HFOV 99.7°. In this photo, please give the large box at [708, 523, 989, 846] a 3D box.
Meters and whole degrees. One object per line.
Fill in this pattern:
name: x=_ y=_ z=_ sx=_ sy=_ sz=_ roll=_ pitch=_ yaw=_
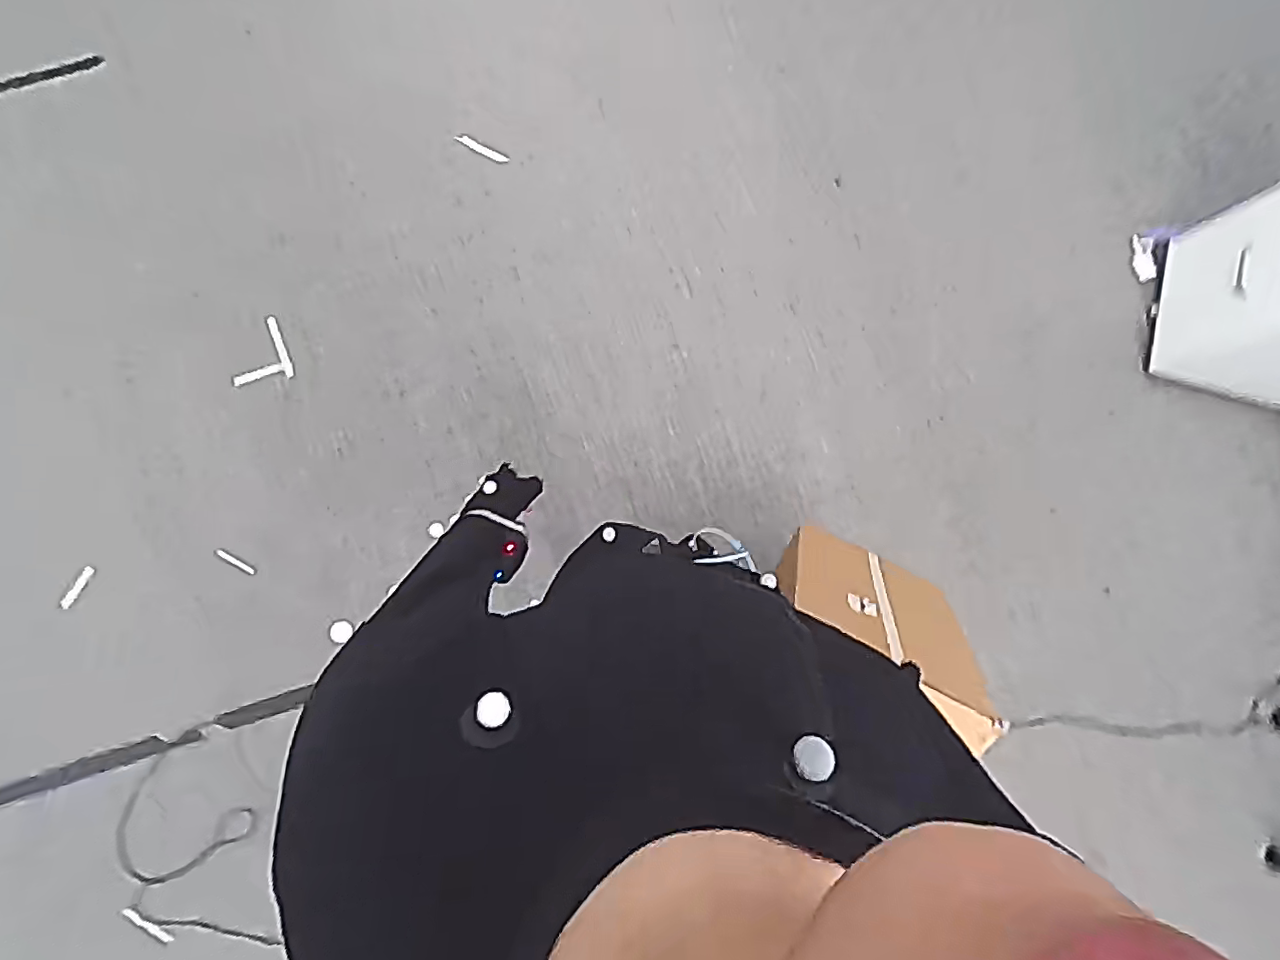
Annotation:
large box: x=0.354 y=0.342 z=1.007 sx=0.320 sy=0.408 sz=0.320 roll=25 pitch=114 yaw=9
